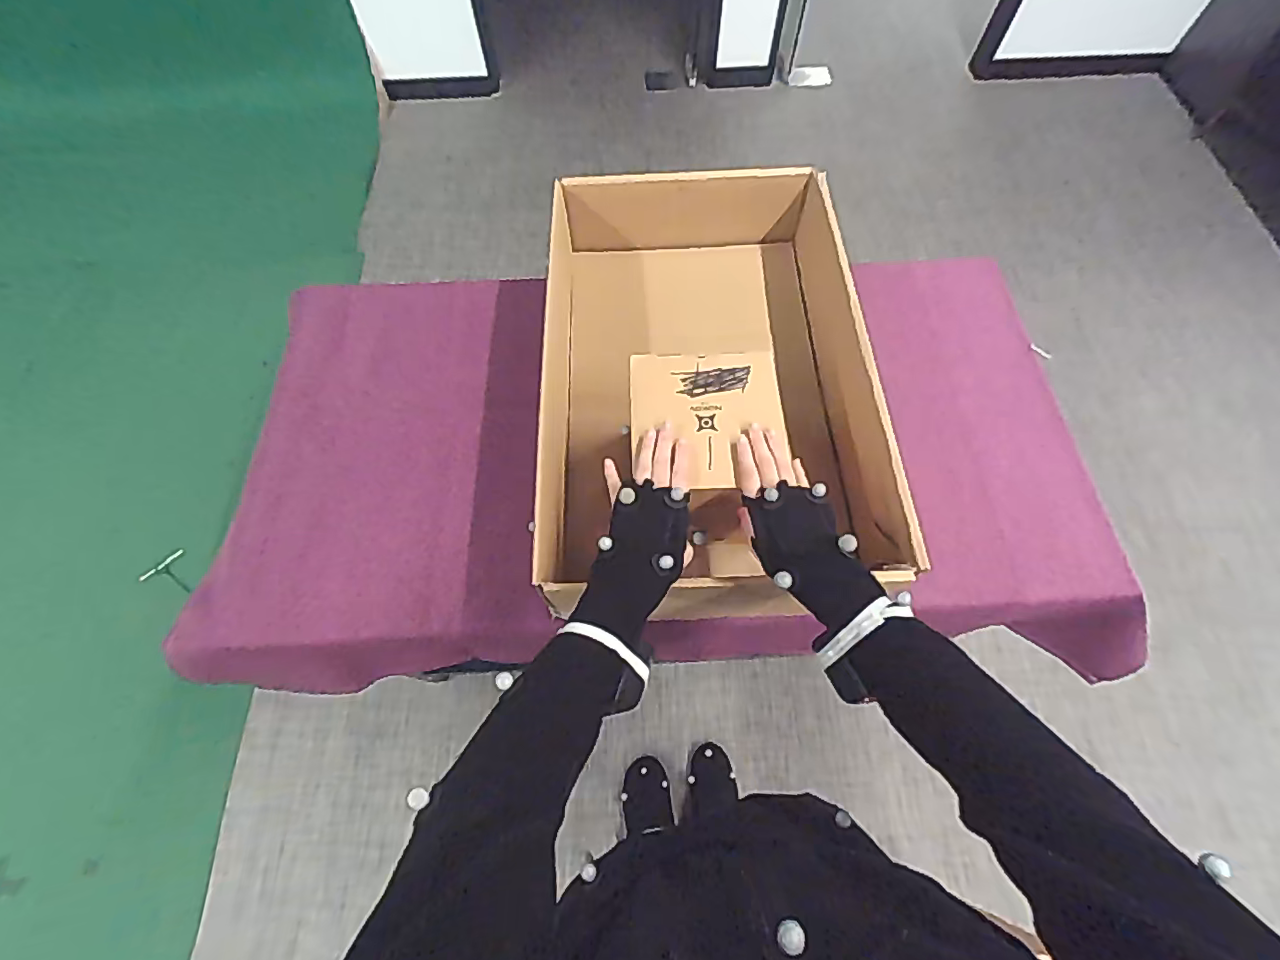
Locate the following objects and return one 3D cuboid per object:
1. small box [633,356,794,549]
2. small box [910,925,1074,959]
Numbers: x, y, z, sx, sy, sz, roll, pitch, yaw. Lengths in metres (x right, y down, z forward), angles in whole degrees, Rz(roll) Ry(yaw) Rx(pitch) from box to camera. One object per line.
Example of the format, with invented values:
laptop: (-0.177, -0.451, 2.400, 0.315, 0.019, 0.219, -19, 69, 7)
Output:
small box: (0.074, -0.028, 0.654, 0.168, 0.176, 0.179, -2, 64, 0)
small box: (0.516, 0.765, 0.775, 0.168, 0.176, 0.179, -2, 64, 0)
